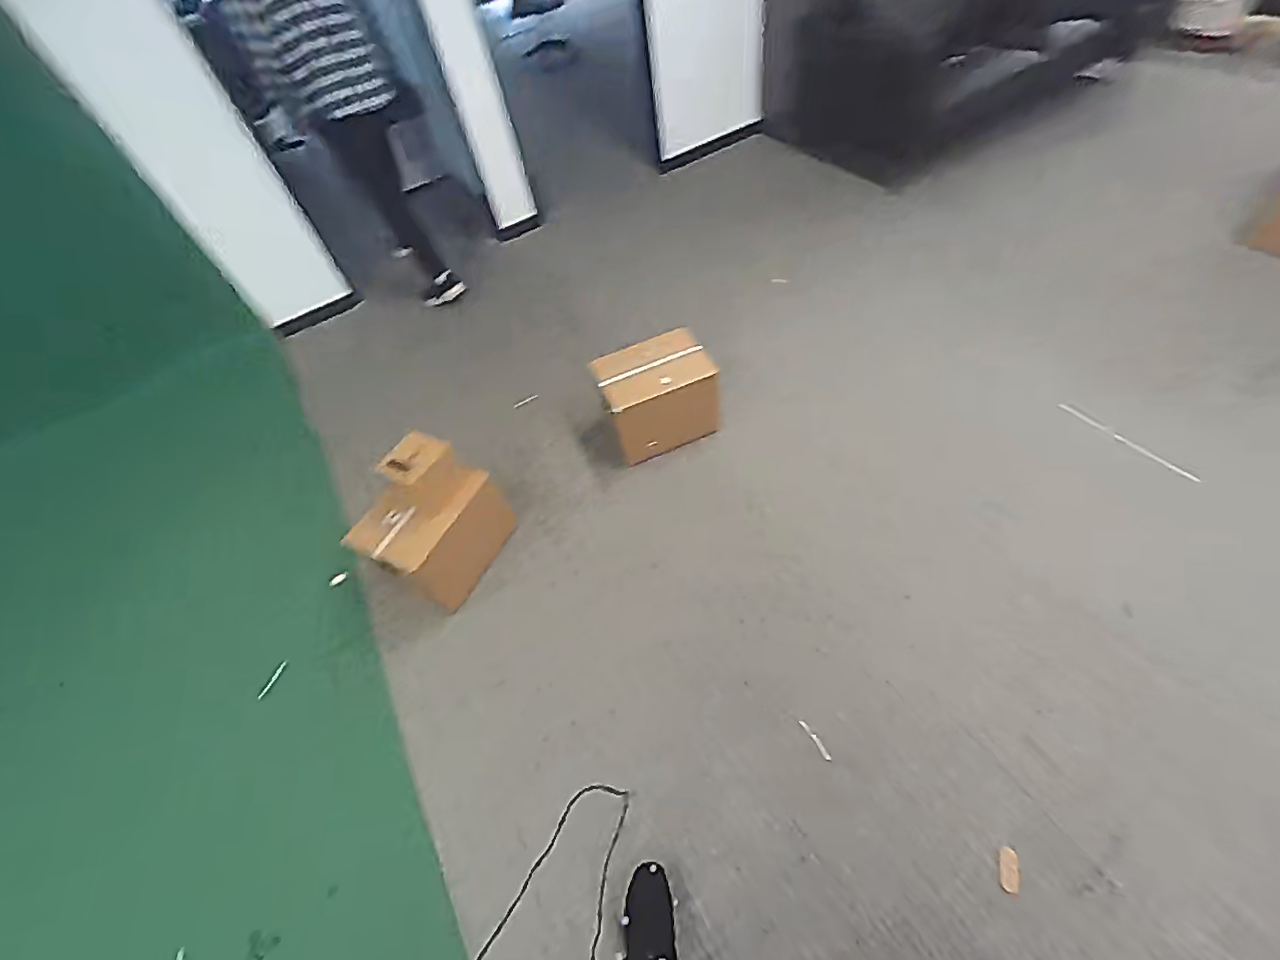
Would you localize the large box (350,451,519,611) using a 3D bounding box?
[{"bbox_3d":[-0.687,0.173,1.879,0.320,0.320,0.408,16,58,23],"label":"large box"}]
